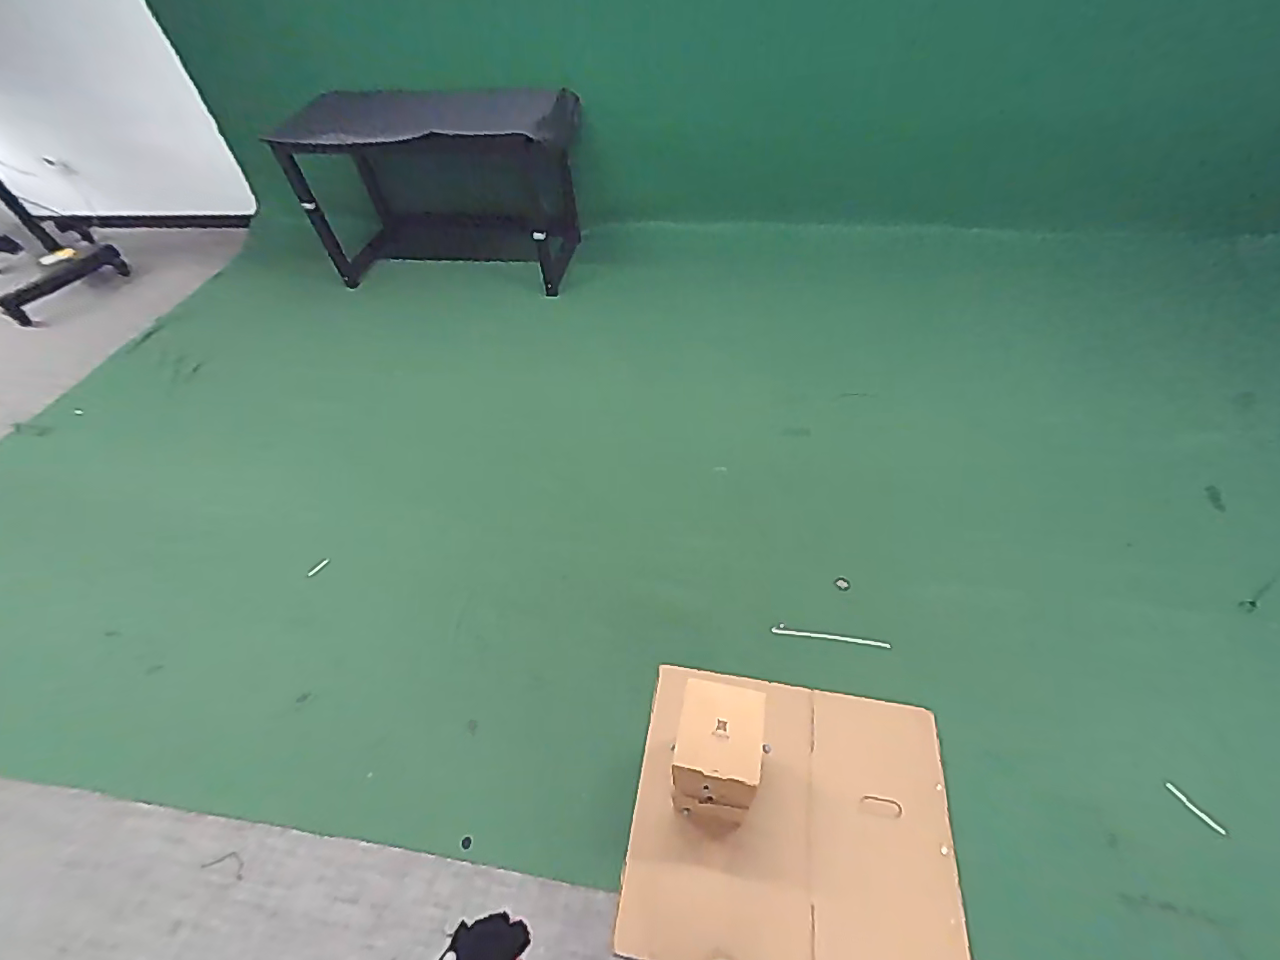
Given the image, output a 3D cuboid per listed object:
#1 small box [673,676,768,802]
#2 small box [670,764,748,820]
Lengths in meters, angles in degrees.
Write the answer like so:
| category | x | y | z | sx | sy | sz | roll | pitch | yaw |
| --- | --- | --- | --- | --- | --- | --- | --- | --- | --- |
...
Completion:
| category | x | y | z | sx | sy | sz | roll | pitch | yaw |
| --- | --- | --- | --- | --- | --- | --- | --- | --- | --- |
| small box | 0.164 | 0.534 | 1.114 | 0.168 | 0.176 | 0.179 | 8 | 51 | 12 |
| small box | 0.167 | 0.649 | 1.230 | 0.168 | 0.176 | 0.179 | 7 | 50 | 11 |
